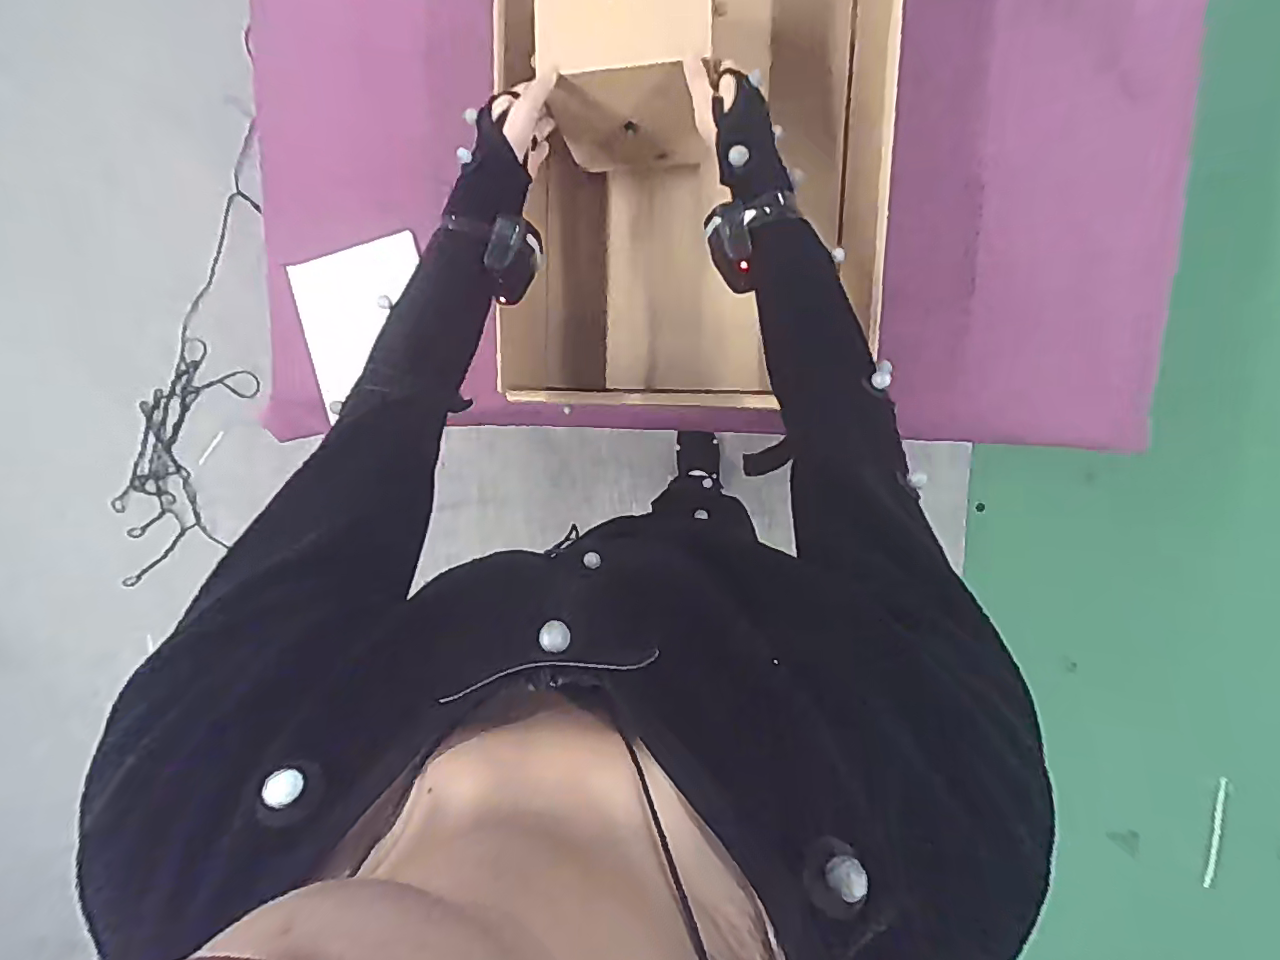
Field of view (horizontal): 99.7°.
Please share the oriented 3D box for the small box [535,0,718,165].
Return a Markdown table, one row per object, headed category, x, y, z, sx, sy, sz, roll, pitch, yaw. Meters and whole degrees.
| category | x | y | z | sx | sy | sz | roll | pitch | yaw |
| --- | --- | --- | --- | --- | --- | --- | --- | --- | --- |
| small box | -0.003 | -0.458 | 0.569 | 0.168 | 0.176 | 0.179 | 0 | 91 | 9 |
